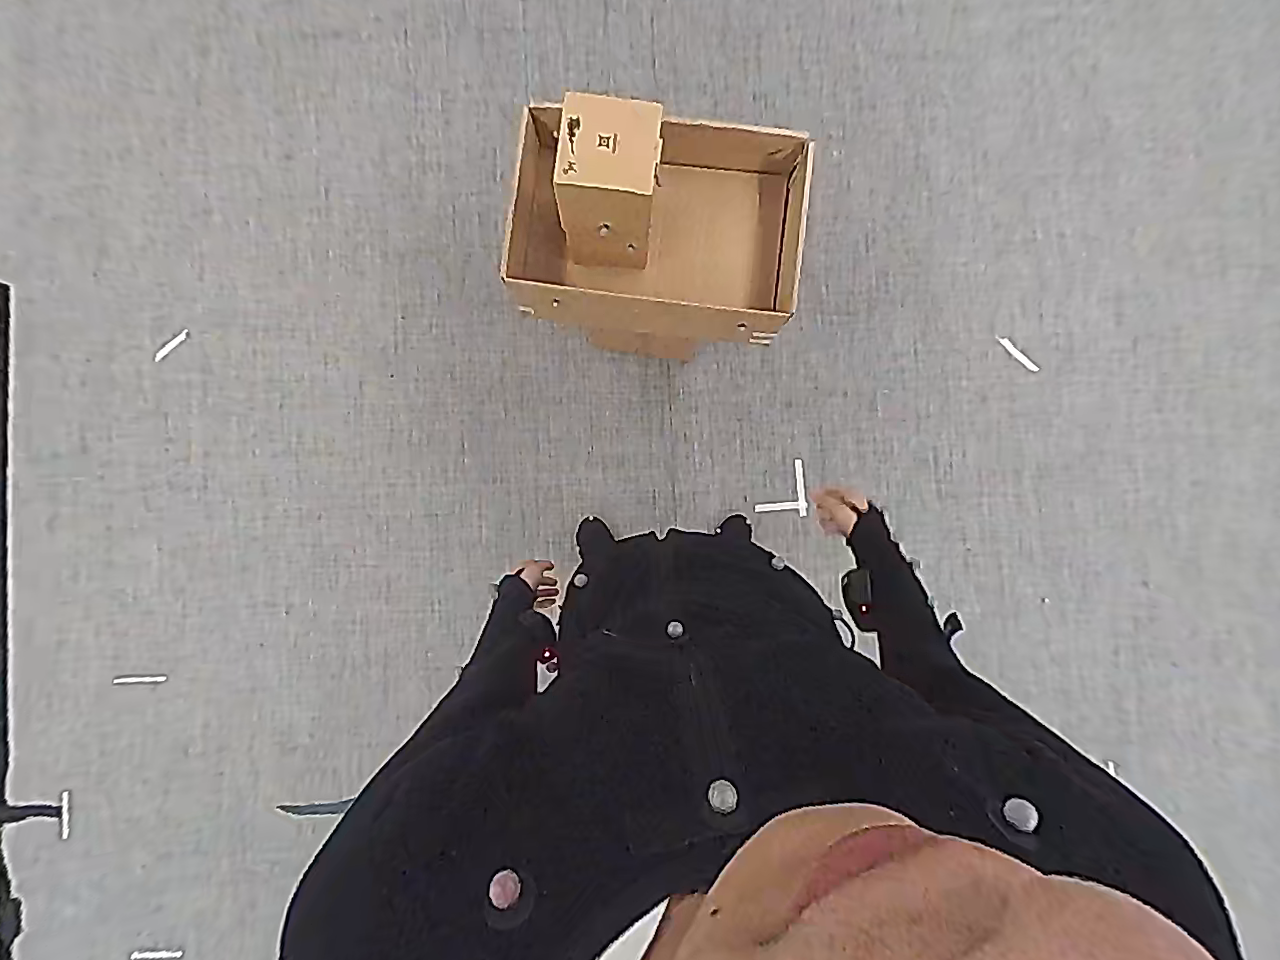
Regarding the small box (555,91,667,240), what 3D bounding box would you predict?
[{"bbox_3d":[-0.053,-0.573,1.009,0.179,0.176,0.168,8,87,-2],"label":"small box"}]
